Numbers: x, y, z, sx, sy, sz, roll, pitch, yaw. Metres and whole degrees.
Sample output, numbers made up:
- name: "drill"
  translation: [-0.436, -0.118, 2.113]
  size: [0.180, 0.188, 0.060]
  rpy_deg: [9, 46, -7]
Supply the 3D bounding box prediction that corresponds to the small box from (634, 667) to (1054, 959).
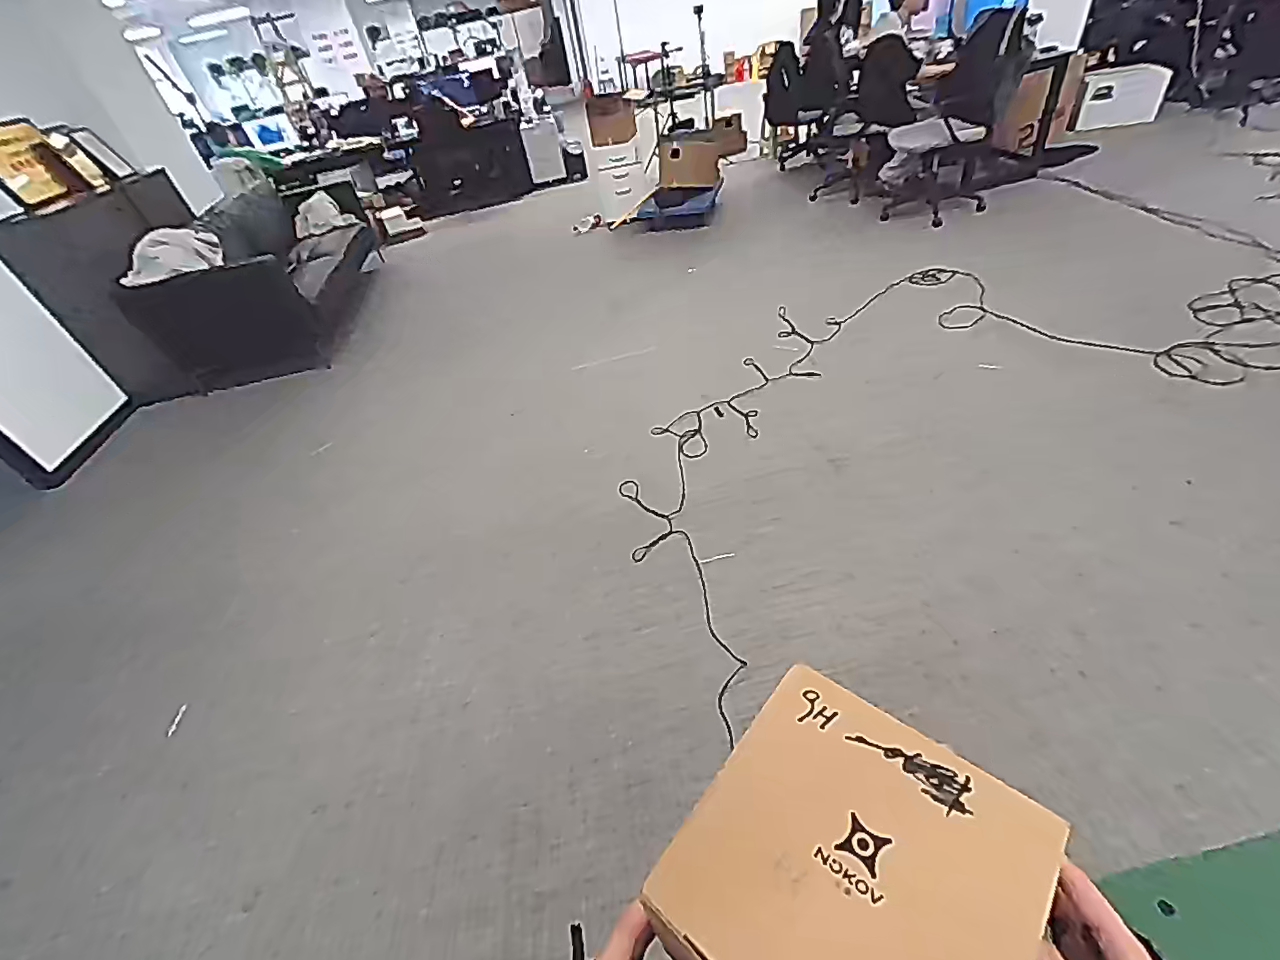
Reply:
- name: "small box"
  translation: [0.123, 0.269, 0.350]
  size: [0.168, 0.176, 0.179]
  rpy_deg: [26, 52, 34]
